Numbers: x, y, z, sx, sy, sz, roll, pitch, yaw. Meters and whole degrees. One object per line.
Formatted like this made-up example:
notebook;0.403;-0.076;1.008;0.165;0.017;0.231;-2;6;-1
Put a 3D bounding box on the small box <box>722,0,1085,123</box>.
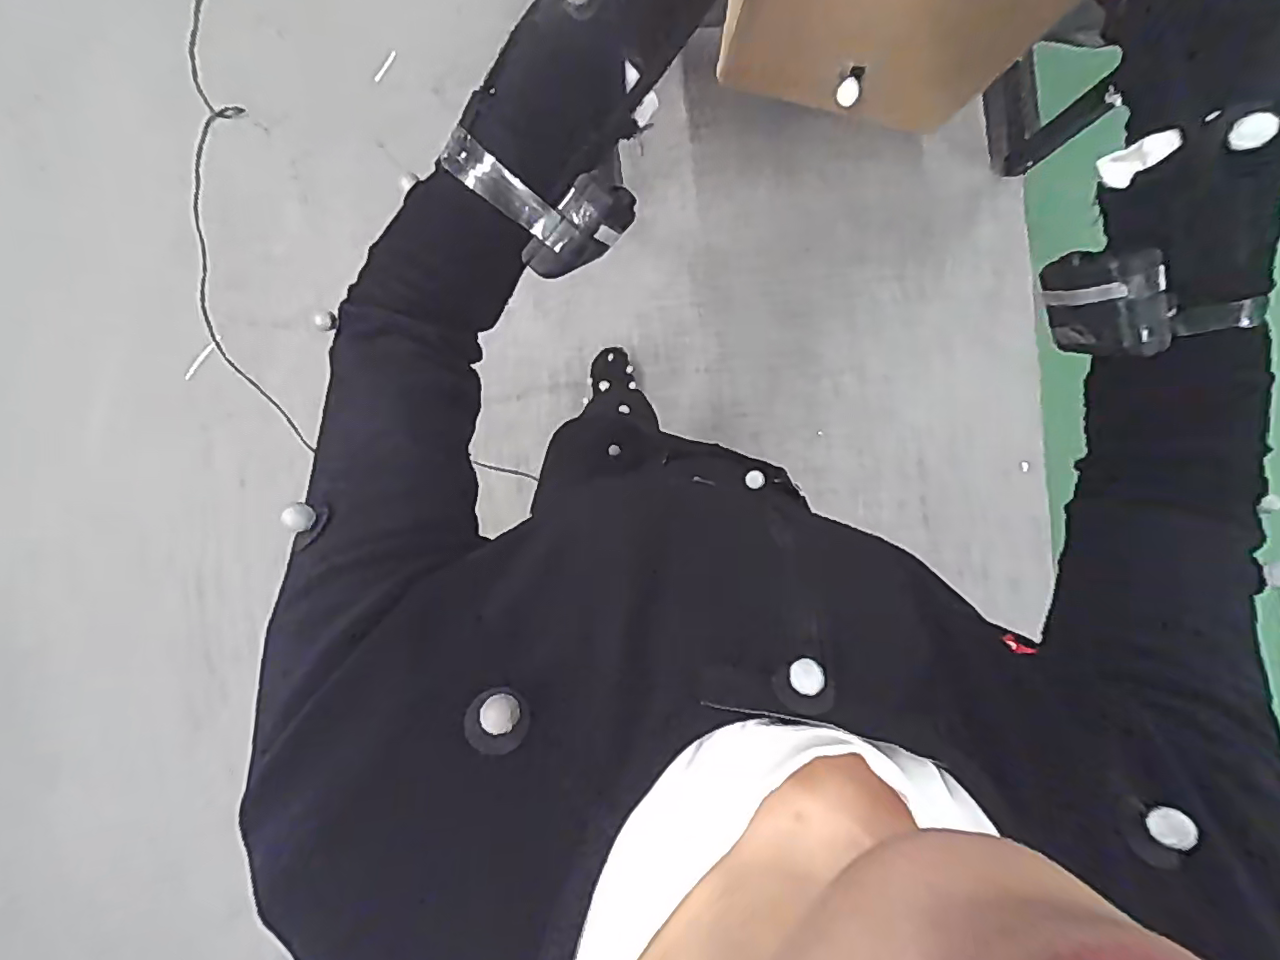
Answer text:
small box;0.165;-0.356;0.326;0.179;0.176;0.168;10;94;-5
